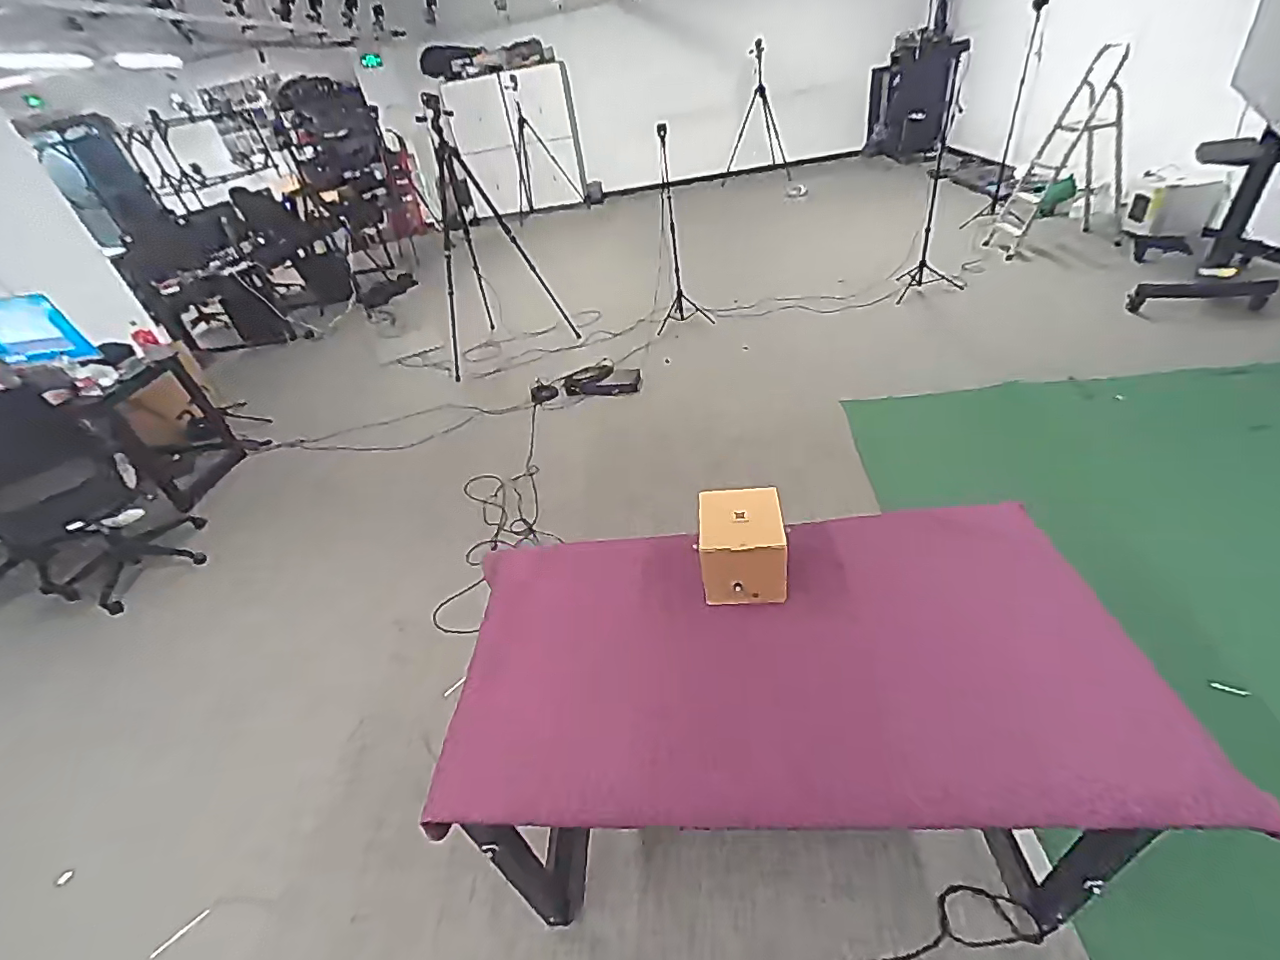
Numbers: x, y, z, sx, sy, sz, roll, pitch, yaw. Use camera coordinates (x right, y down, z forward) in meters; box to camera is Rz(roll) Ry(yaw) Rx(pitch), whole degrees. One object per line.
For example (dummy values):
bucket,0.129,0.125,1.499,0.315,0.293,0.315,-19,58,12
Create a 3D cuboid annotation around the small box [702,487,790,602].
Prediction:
small box,0.215,0.135,1.132,0.168,0.176,0.179,-4,40,8
